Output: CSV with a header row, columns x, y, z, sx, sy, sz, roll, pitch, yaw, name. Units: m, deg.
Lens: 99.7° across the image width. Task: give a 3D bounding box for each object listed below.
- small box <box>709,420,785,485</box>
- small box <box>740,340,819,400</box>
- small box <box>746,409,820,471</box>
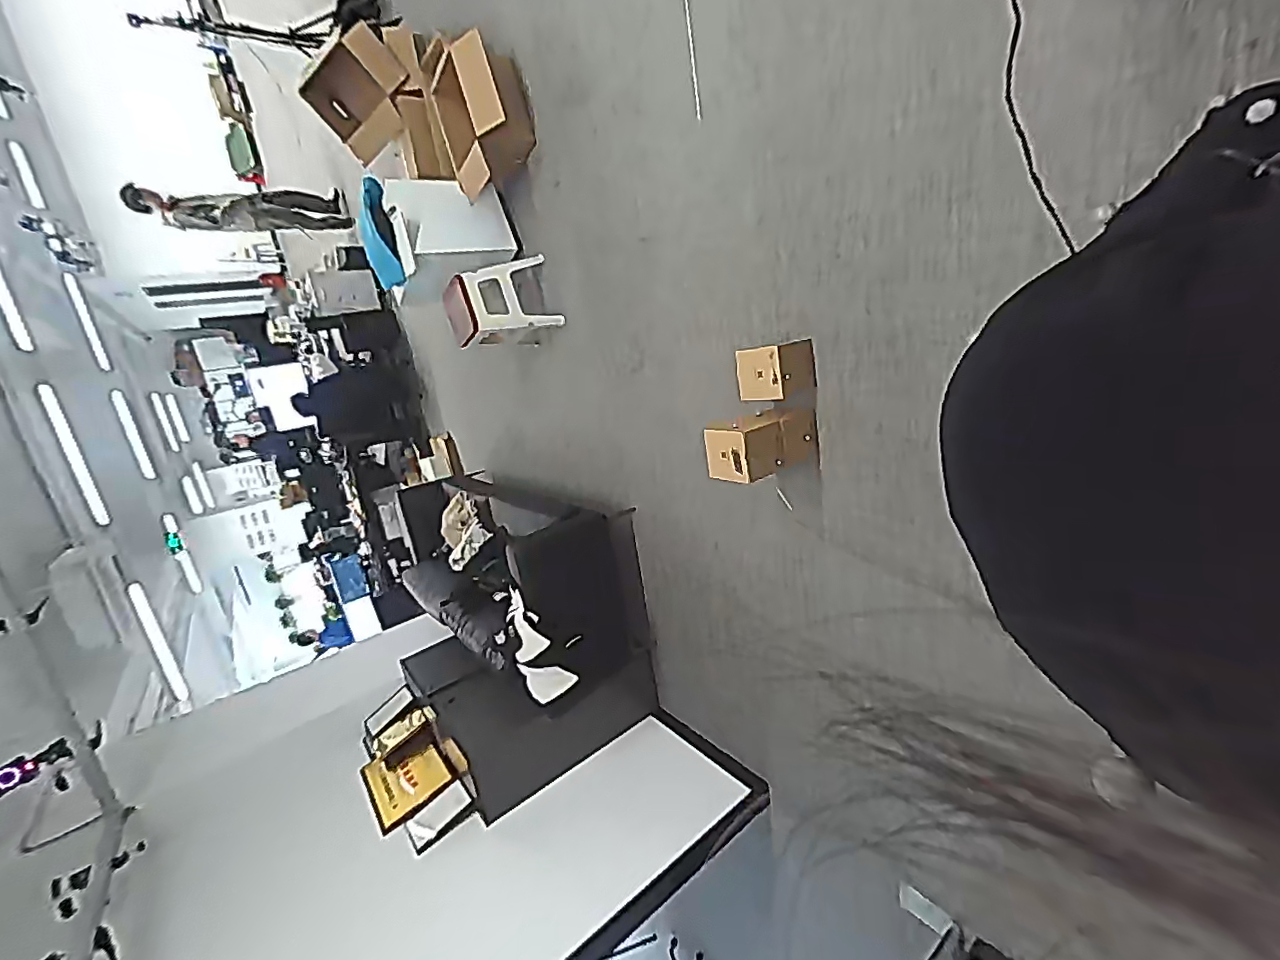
x,y,z,sx,sy,sz,roll,pitch,yaw,name
0.348,-0.095,1.733,0.179,0.176,0.168,12,116,53,small box
0.451,-0.354,1.749,0.179,0.176,0.168,10,115,54,small box
0.481,-0.140,1.818,0.179,0.176,0.168,12,117,52,small box
